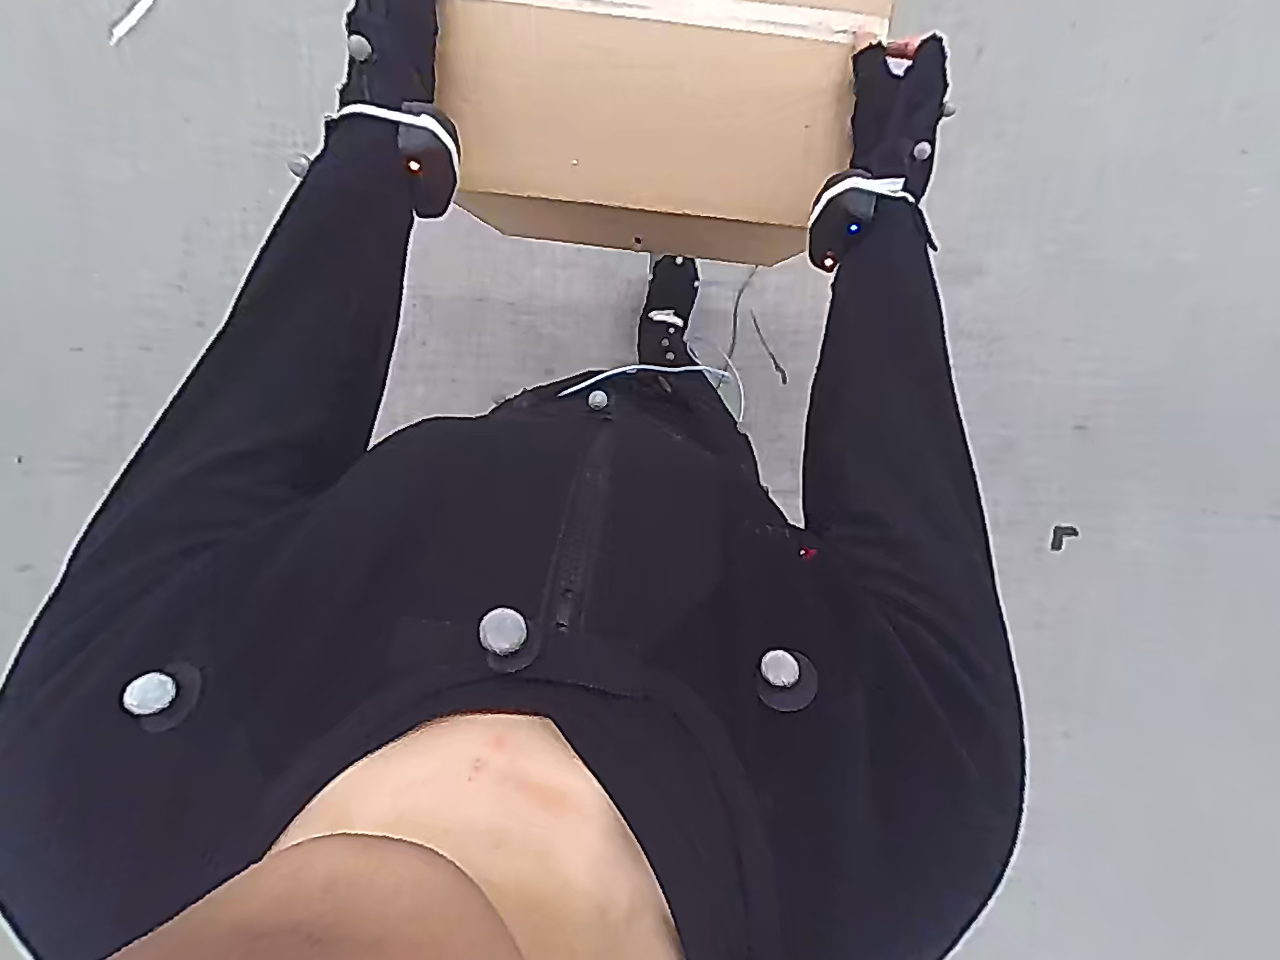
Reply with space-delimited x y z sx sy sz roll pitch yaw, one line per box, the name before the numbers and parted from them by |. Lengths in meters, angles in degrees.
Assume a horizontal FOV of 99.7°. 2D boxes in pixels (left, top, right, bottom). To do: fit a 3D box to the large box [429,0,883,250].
large box | 0.016 -0.459 0.617 0.408 0.320 0.320 6 105 -1
